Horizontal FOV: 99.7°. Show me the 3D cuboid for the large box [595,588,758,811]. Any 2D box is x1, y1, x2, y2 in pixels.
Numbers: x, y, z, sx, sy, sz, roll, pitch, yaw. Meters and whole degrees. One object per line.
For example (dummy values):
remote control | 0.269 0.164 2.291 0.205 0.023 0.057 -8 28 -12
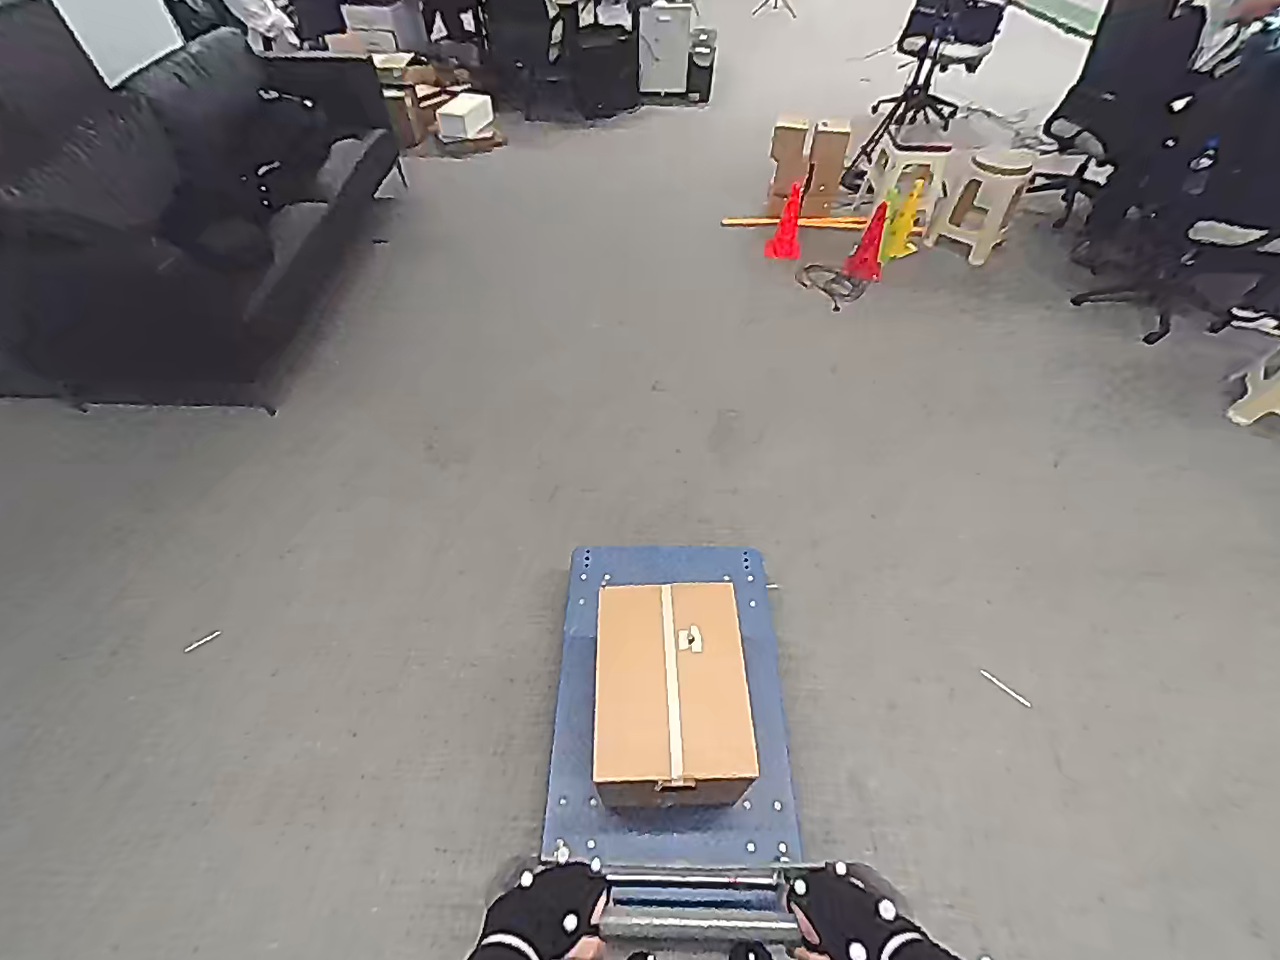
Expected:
large box | 0.067 0.506 1.250 0.320 0.320 0.408 -2 51 0
